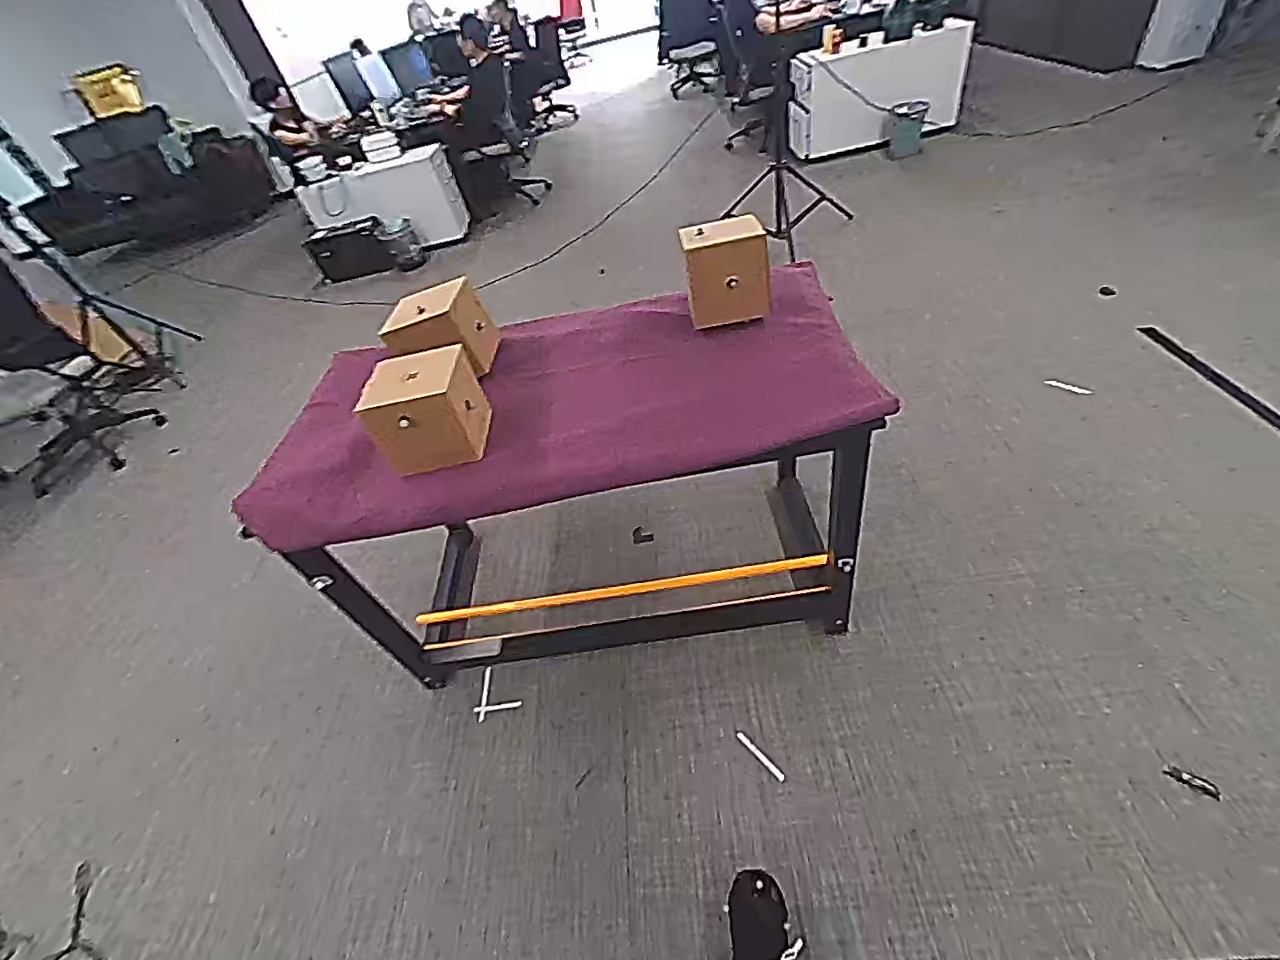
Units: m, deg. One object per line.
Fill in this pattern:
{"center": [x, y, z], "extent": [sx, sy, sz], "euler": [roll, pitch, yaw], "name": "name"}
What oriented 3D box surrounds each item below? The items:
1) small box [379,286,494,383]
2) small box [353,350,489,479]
{"center": [-0.454, -0.321, 1.245], "extent": [0.179, 0.168, 0.176], "euler": [-13, 42, 13], "name": "small box"}
{"center": [-0.412, -0.125, 1.055], "extent": [0.179, 0.176, 0.168], "euler": [-11, 44, 5], "name": "small box"}
